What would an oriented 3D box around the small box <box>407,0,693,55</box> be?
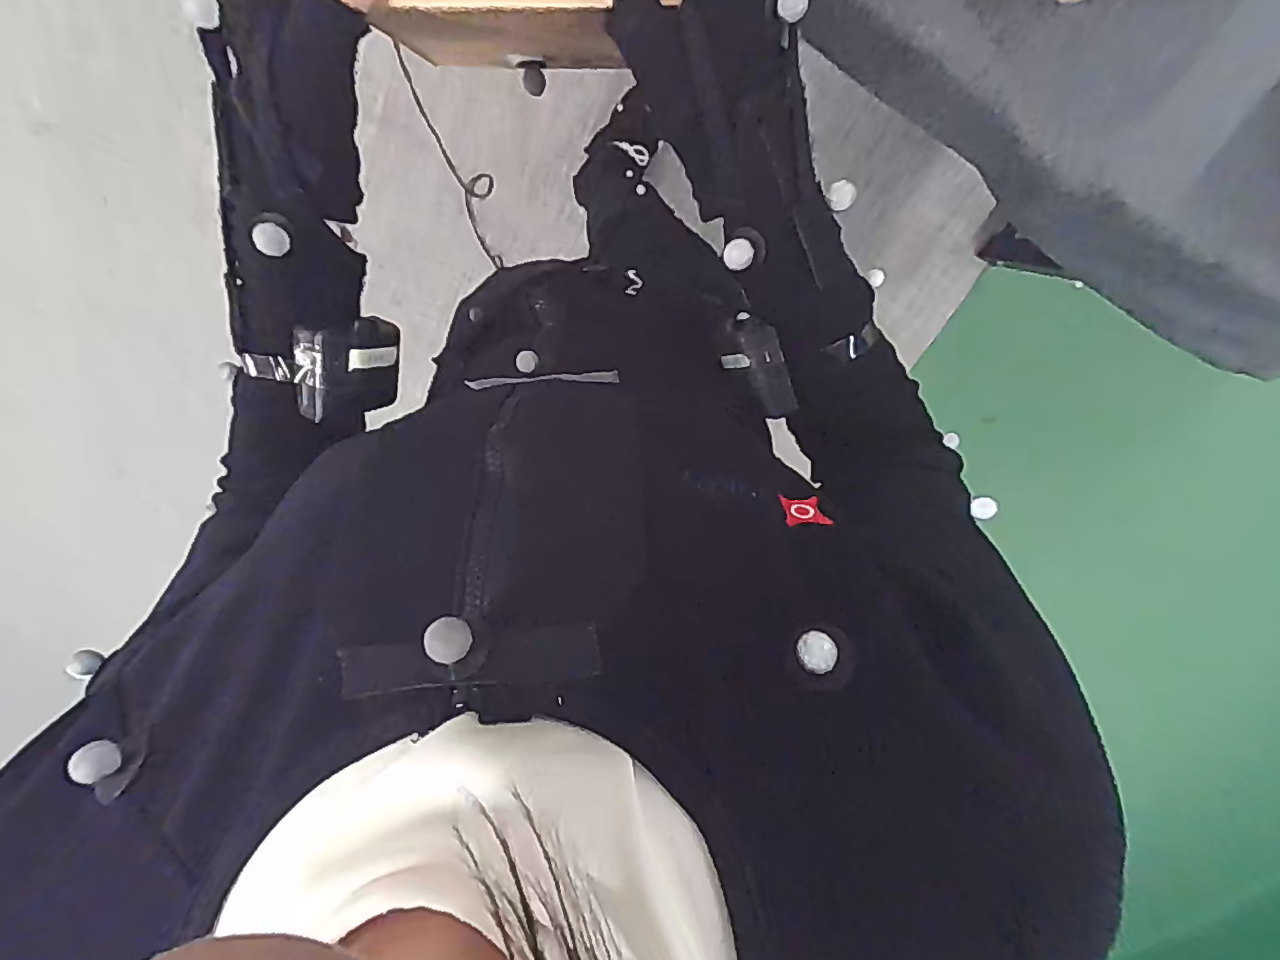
[{"bbox_3d":[-0.056,-0.343,0.276,0.168,0.176,0.179,-2,120,-1],"label":"small box"}]
